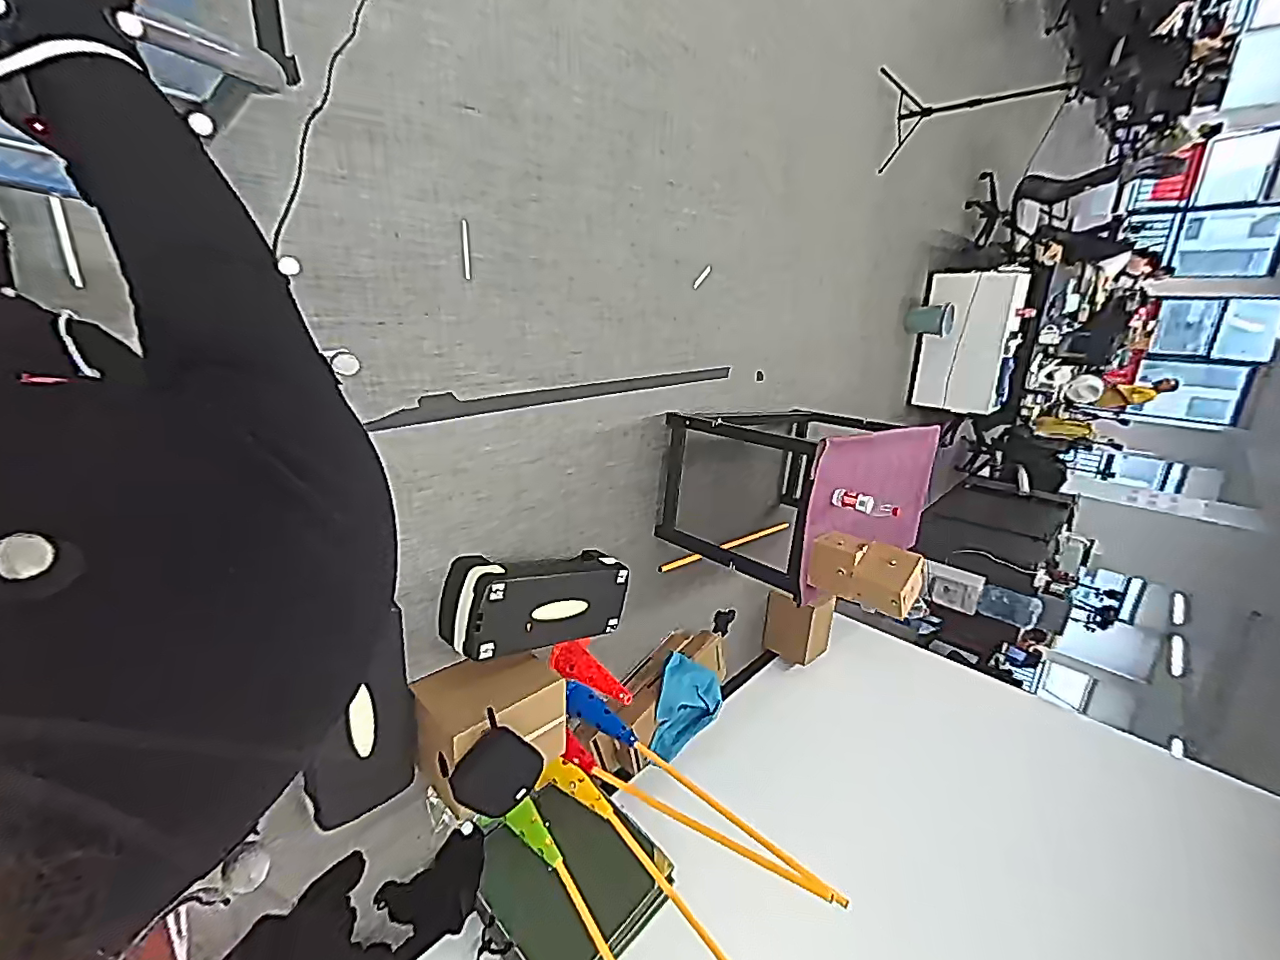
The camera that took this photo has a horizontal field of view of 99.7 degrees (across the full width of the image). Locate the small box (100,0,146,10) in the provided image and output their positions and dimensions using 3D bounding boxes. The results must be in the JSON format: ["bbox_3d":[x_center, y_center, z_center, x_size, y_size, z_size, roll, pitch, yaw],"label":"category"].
[{"bbox_3d":[-0.793,-0.792,0.734,0.179,0.176,0.168,-11,112,-45],"label":"small box"}]
